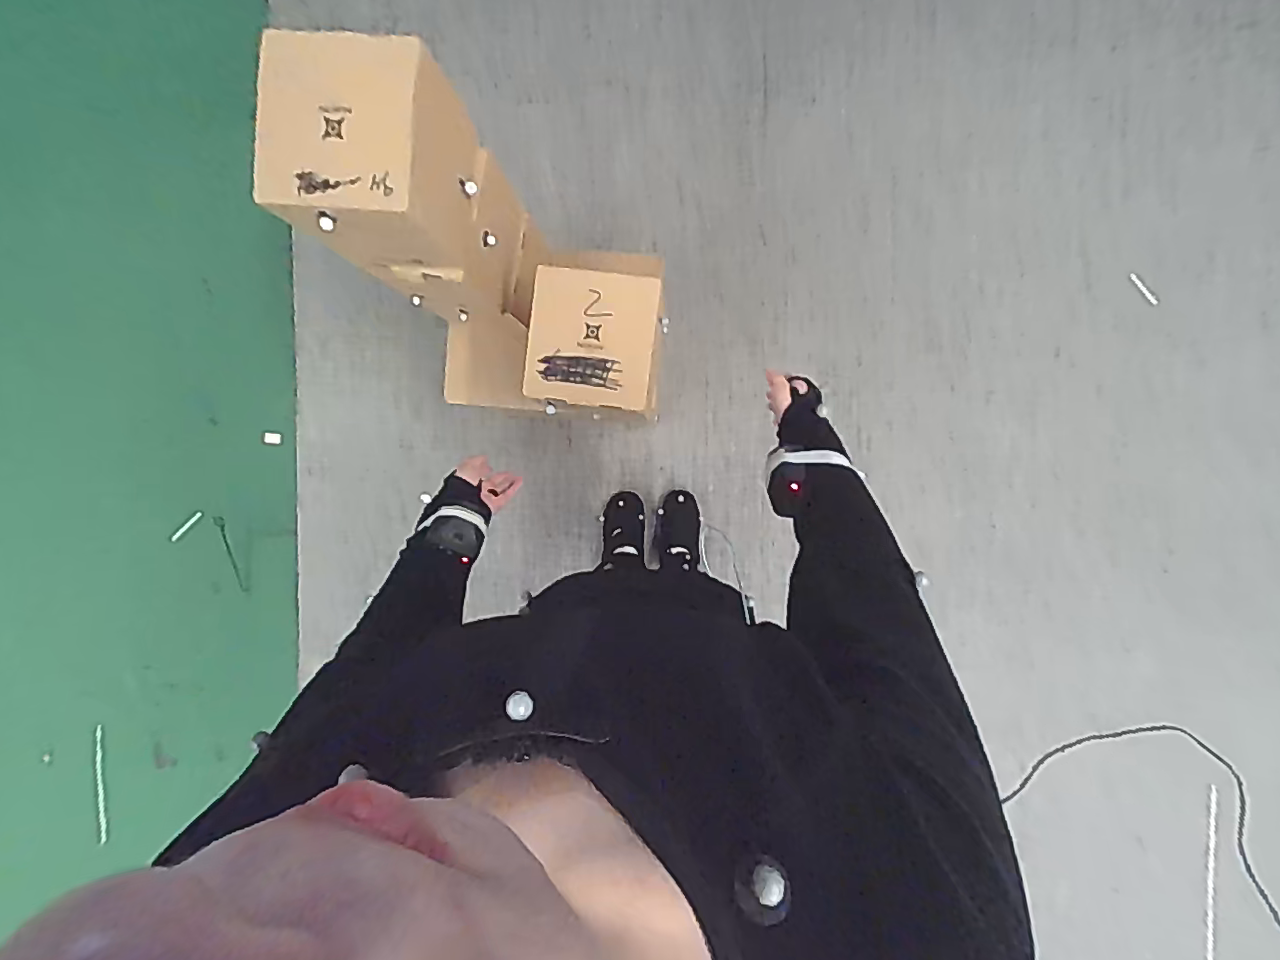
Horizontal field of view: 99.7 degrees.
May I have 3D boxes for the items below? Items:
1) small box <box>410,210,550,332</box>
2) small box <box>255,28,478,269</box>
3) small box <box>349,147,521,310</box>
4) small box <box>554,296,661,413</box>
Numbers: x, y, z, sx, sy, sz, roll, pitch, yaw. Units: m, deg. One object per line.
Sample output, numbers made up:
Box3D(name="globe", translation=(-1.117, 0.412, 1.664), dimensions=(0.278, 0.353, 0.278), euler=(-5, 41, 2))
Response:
Box3D(name="small box", translation=(-0.273, -0.371, 0.957), dimensions=(0.179, 0.176, 0.168), euler=(11, 93, 2))
Box3D(name="small box", translation=(-0.300, -0.368, 0.628), dimensions=(0.168, 0.176, 0.179), euler=(6, 92, 4))
Box3D(name="small box", translation=(-0.287, -0.367, 0.793), dimensions=(0.168, 0.176, 0.179), euler=(13, 92, 3))
Box3D(name="small box", translation=(-0.050, -0.211, 0.949), dimensions=(0.168, 0.176, 0.179), euler=(3, 92, 3))
